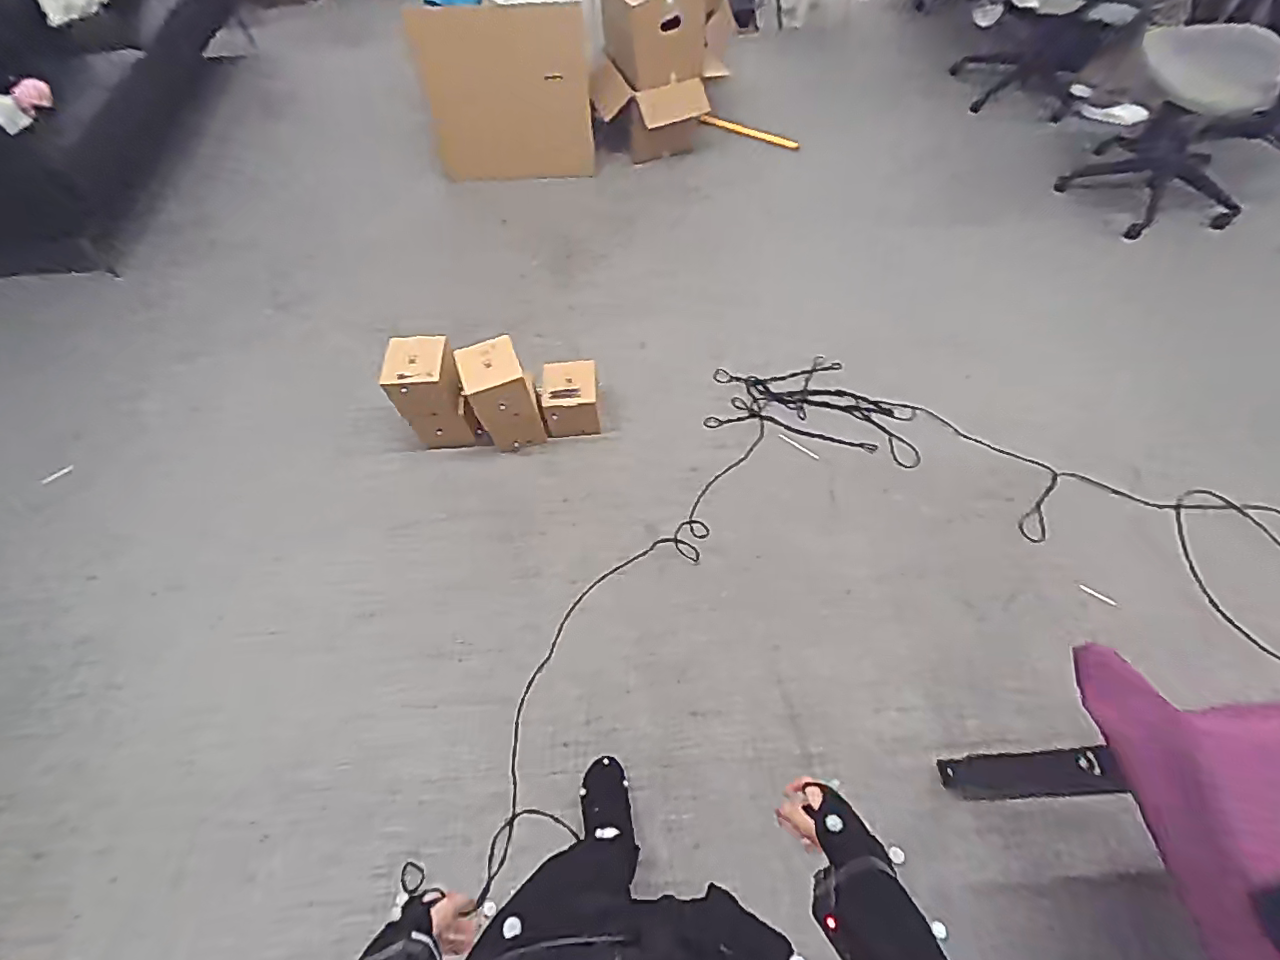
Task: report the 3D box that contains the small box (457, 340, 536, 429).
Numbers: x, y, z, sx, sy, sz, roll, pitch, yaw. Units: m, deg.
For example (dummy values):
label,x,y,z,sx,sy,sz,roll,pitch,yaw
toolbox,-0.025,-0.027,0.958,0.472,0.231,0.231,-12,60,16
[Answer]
label,x,y,z,sx,sy,sz,roll,pitch,yaw
small box,-0.416,-0.270,1.583,0.168,0.176,0.179,-19,60,-8

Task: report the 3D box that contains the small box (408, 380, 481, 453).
label,x,y,z,sx,sy,sz,roll,pitch,yaw
small box,-0.618,-0.203,1.742,0.179,0.176,0.168,-5,59,1
